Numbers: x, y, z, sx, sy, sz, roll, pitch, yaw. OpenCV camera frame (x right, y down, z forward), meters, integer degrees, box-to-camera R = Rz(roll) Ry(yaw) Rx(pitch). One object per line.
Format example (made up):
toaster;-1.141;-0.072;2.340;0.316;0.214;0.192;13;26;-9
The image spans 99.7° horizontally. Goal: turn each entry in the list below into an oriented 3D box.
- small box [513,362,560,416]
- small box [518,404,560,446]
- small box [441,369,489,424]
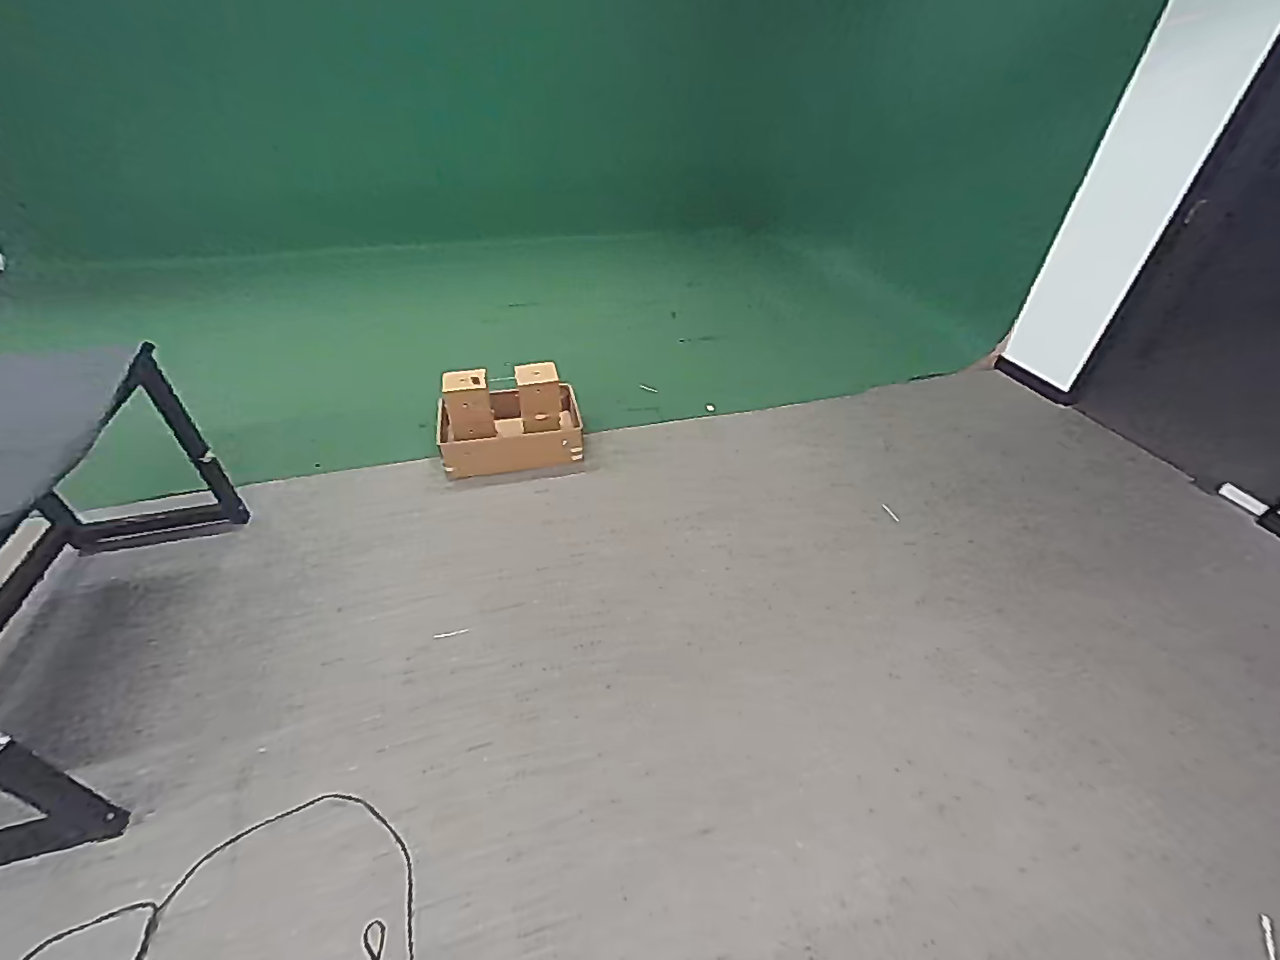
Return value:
small box;-0.455;-0.396;2.376;0.179;0.176;0.168;-9;43;-13
small box;-0.462;-0.266;2.475;0.168;0.176;0.179;-8;42;-10
small box;-0.743;-0.355;2.310;0.179;0.176;0.168;-8;41;-11
